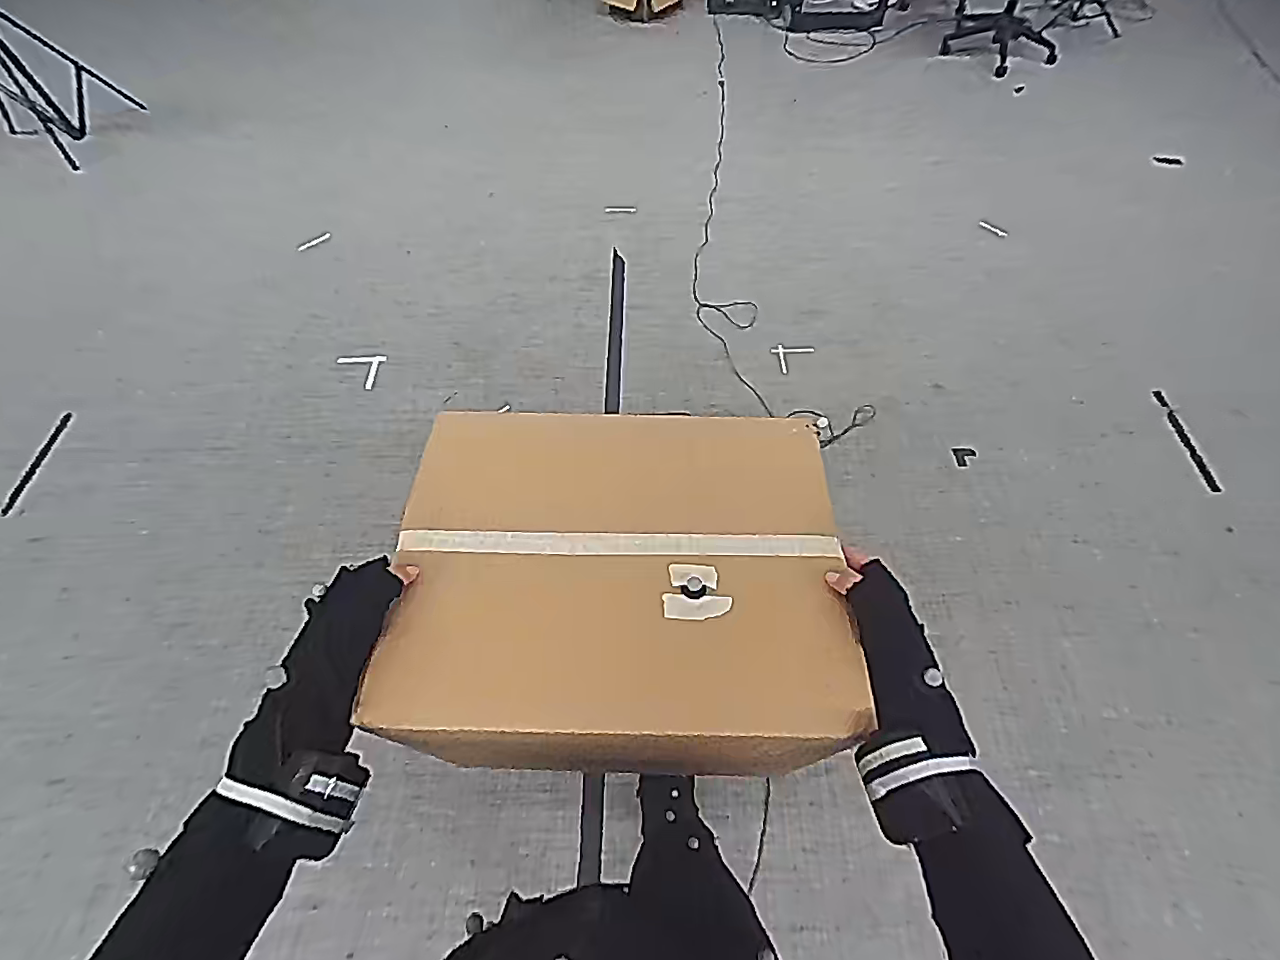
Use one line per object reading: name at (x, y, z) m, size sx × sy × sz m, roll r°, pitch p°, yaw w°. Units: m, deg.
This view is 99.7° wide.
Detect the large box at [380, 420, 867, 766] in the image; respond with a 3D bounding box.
large box at (-0.015, 0.146, 0.639) m, size 0.408 × 0.320 × 0.320 m, roll 1°, pitch 57°, yaw 0°
